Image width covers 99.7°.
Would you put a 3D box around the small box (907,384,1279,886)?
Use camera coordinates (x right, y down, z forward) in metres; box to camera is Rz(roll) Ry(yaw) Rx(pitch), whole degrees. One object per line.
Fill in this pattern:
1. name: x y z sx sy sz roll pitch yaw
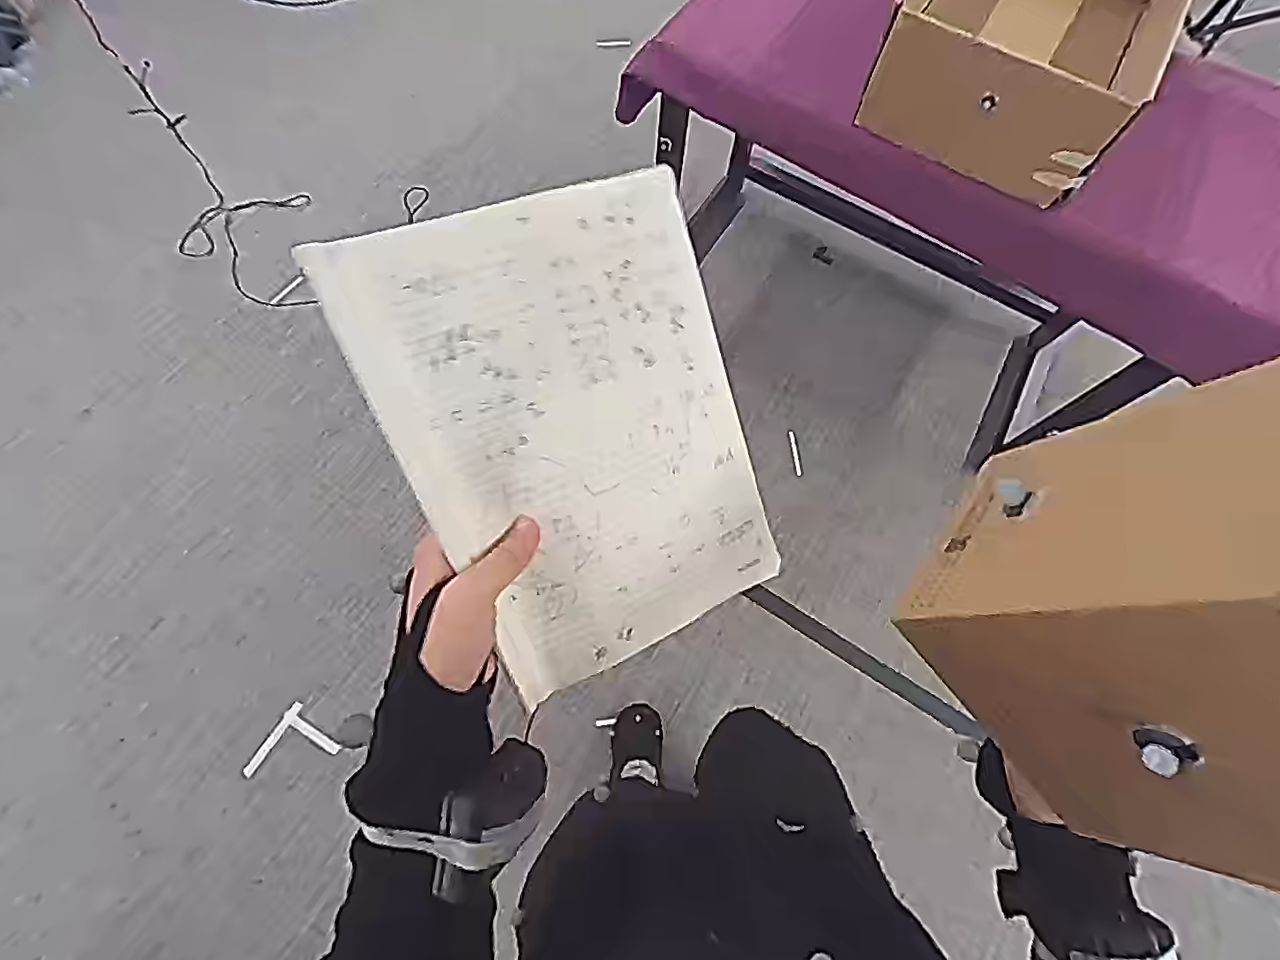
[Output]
1. small box: 0.287 0.076 0.281 0.168 0.176 0.179 -41 91 -28
